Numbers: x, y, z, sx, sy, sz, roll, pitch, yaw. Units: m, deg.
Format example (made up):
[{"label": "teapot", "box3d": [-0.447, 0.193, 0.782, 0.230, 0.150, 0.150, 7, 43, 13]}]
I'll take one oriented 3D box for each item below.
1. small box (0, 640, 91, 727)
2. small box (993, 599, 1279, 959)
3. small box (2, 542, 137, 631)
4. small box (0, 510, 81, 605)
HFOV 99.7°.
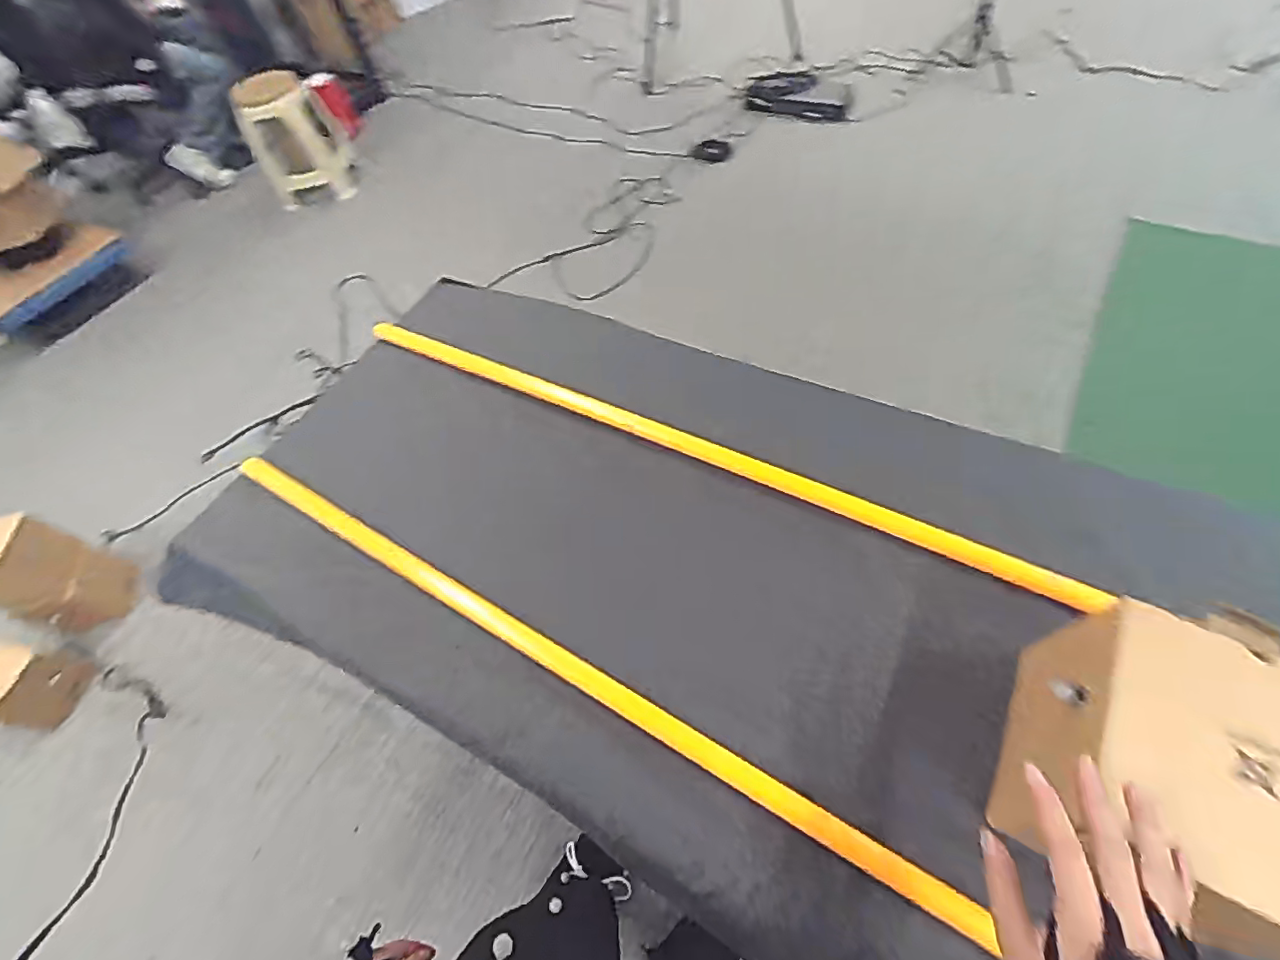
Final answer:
[{"label": "small box", "box3d": [-1.593, 0.521, 1.383, 0.179, 0.176, 0.168, 8, 58, 13]}, {"label": "small box", "box3d": [0.405, 0.229, 0.417, 0.168, 0.176, 0.179, 23, 63, 22]}, {"label": "small box", "box3d": [-1.588, 0.303, 1.518, 0.179, 0.176, 0.168, -18, 56, -4]}, {"label": "small box", "box3d": [-1.613, 0.207, 1.387, 0.168, 0.176, 0.179, -13, 55, -2]}]
